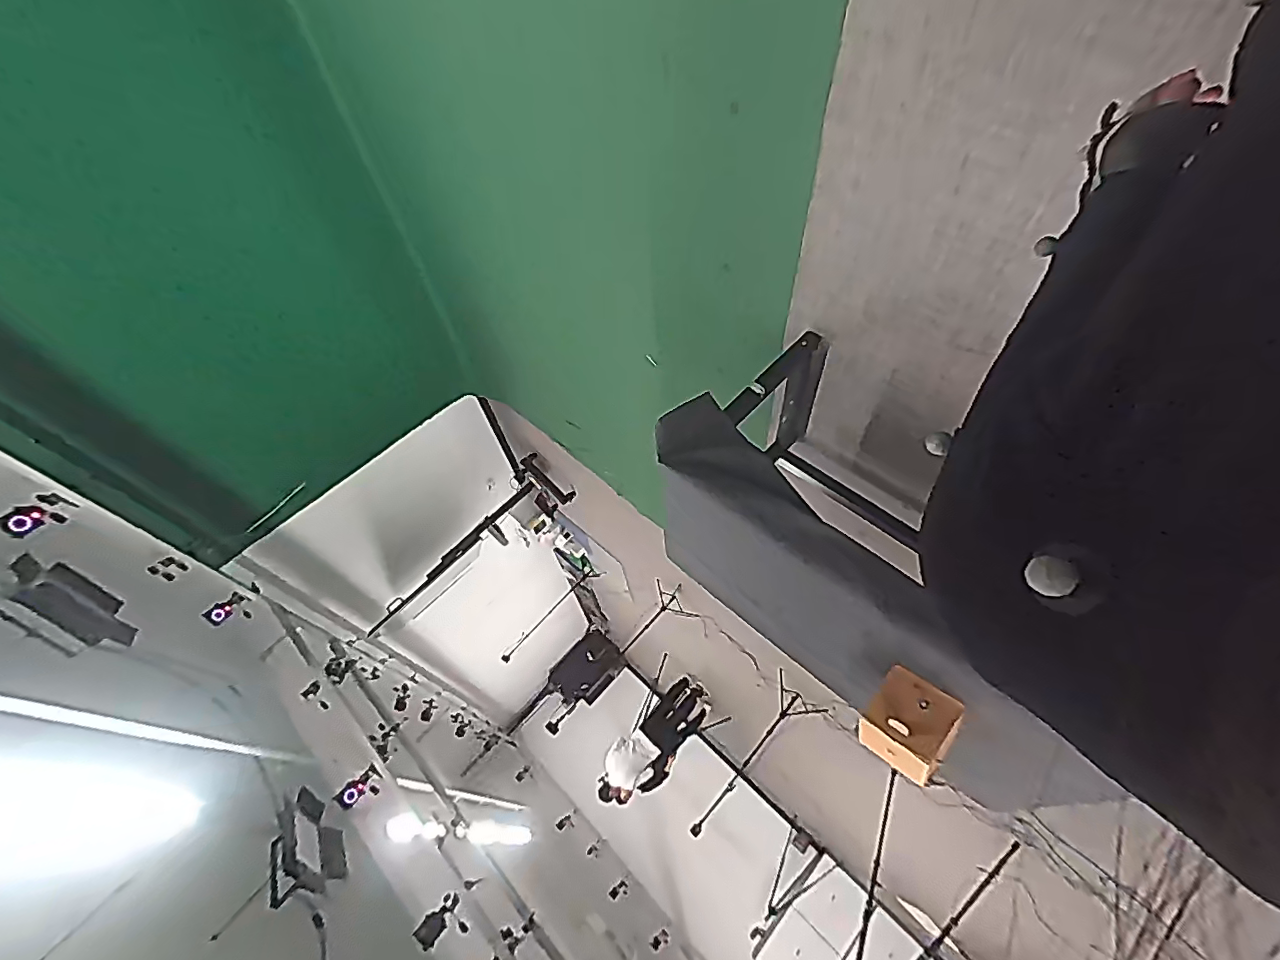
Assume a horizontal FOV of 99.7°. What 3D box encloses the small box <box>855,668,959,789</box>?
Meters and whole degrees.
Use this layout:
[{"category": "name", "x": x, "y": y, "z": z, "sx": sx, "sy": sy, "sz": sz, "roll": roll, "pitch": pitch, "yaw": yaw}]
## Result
[{"category": "small box", "x": 0.637, "y": 0.592, "z": 1.297, "sx": 0.168, "sy": 0.176, "sz": 0.179, "roll": 30, "pitch": 152, "yaw": 40}]
